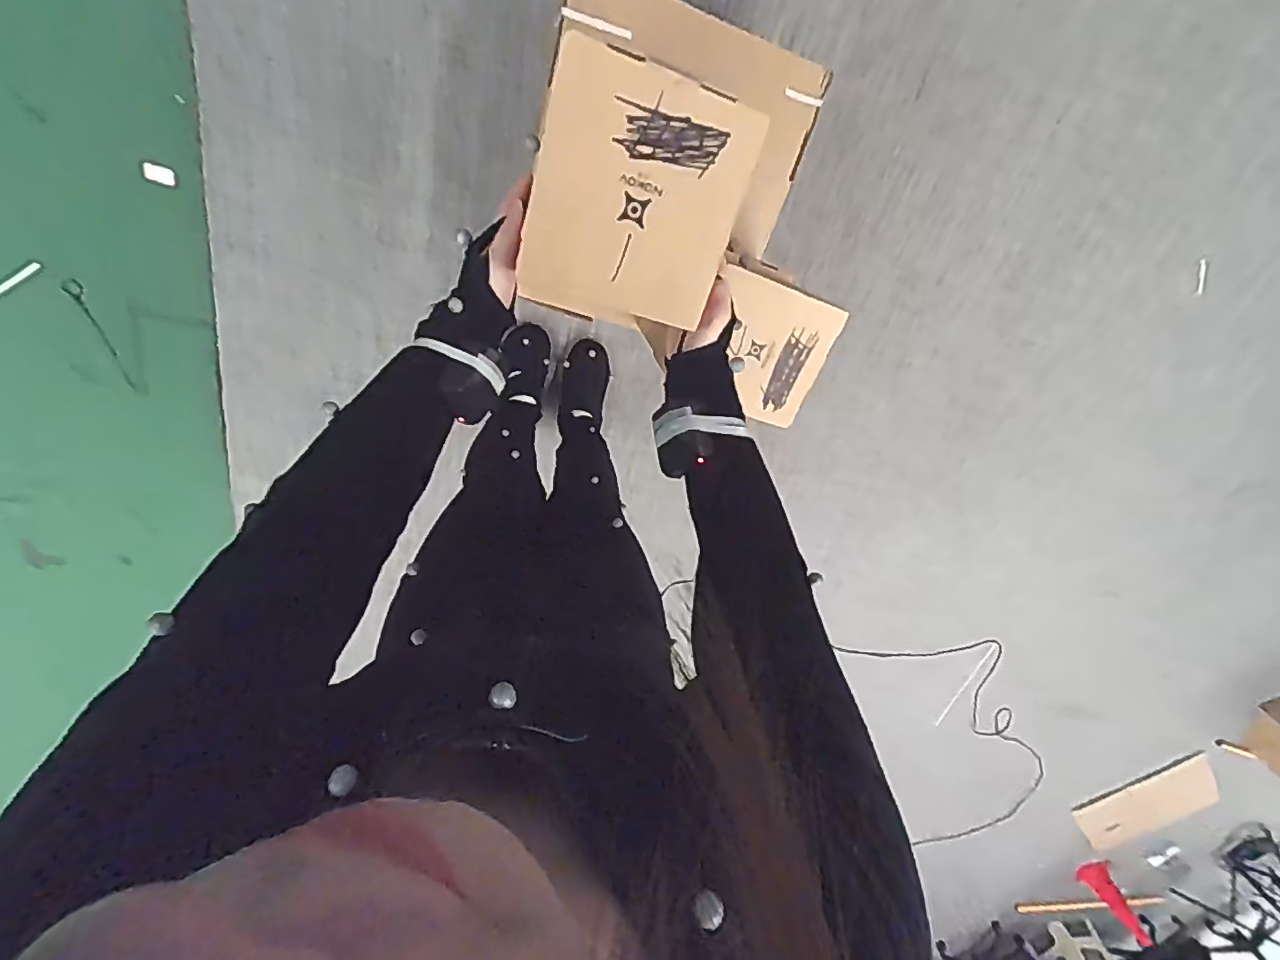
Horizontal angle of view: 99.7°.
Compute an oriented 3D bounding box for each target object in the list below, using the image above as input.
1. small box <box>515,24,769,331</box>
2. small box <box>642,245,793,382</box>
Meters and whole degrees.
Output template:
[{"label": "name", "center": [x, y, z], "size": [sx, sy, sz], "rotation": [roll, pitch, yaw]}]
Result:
[{"label": "small box", "center": [-0.013, -0.263, 0.499], "size": [0.168, 0.176, 0.179], "rotation": [13, 116, -15]}, {"label": "small box", "center": [0.112, -0.285, 0.879], "size": [0.168, 0.176, 0.179], "rotation": [14, 114, -16]}]
